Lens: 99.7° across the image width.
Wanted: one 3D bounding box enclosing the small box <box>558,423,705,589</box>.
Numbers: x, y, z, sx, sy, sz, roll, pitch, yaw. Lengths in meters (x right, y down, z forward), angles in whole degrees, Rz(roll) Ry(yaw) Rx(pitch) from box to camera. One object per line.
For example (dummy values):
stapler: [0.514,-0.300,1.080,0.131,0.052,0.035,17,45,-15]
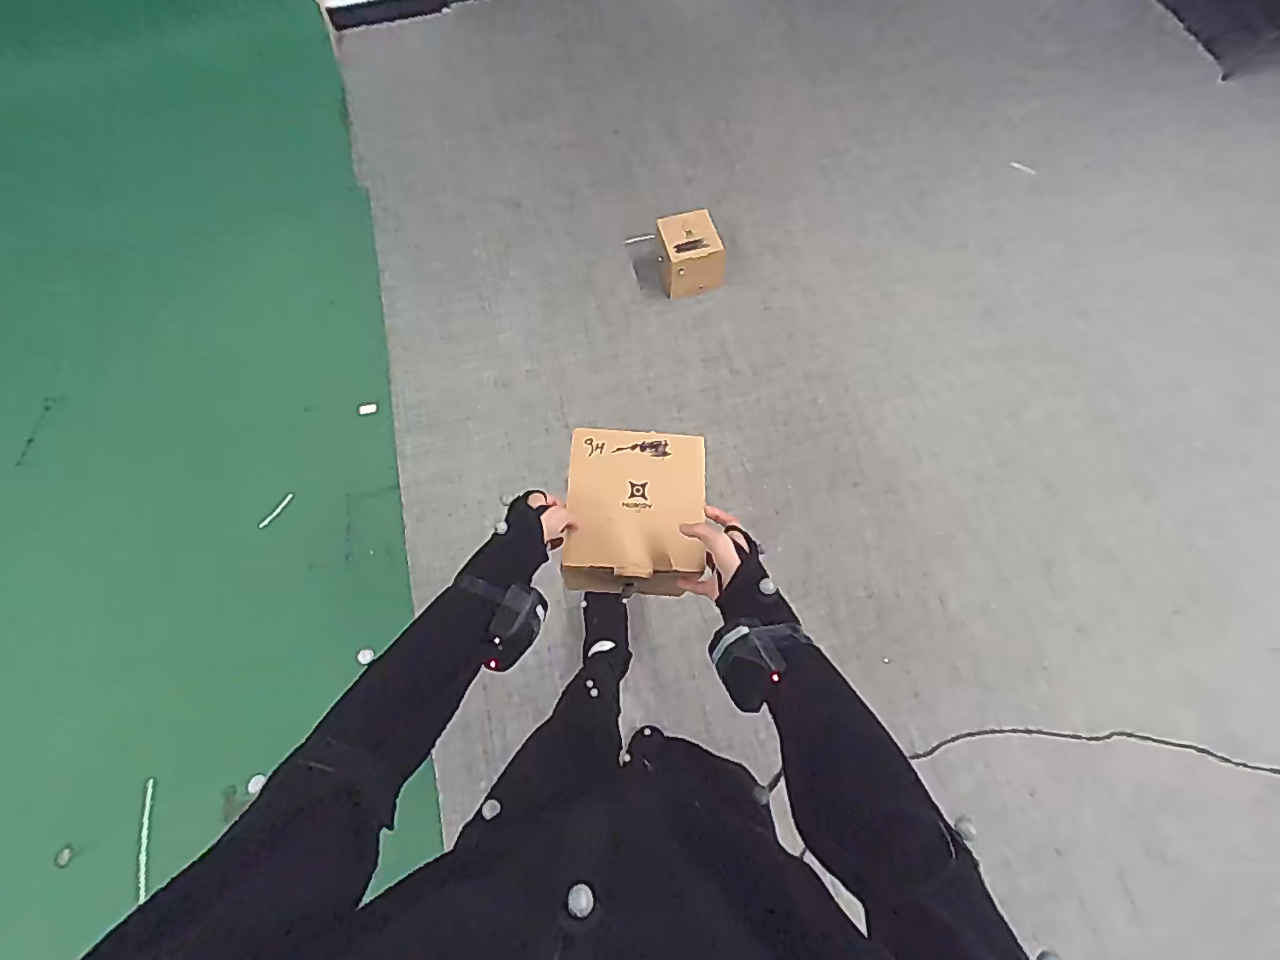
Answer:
small box: [-0.013,0.044,0.709,0.168,0.176,0.179,4,70,-4]
